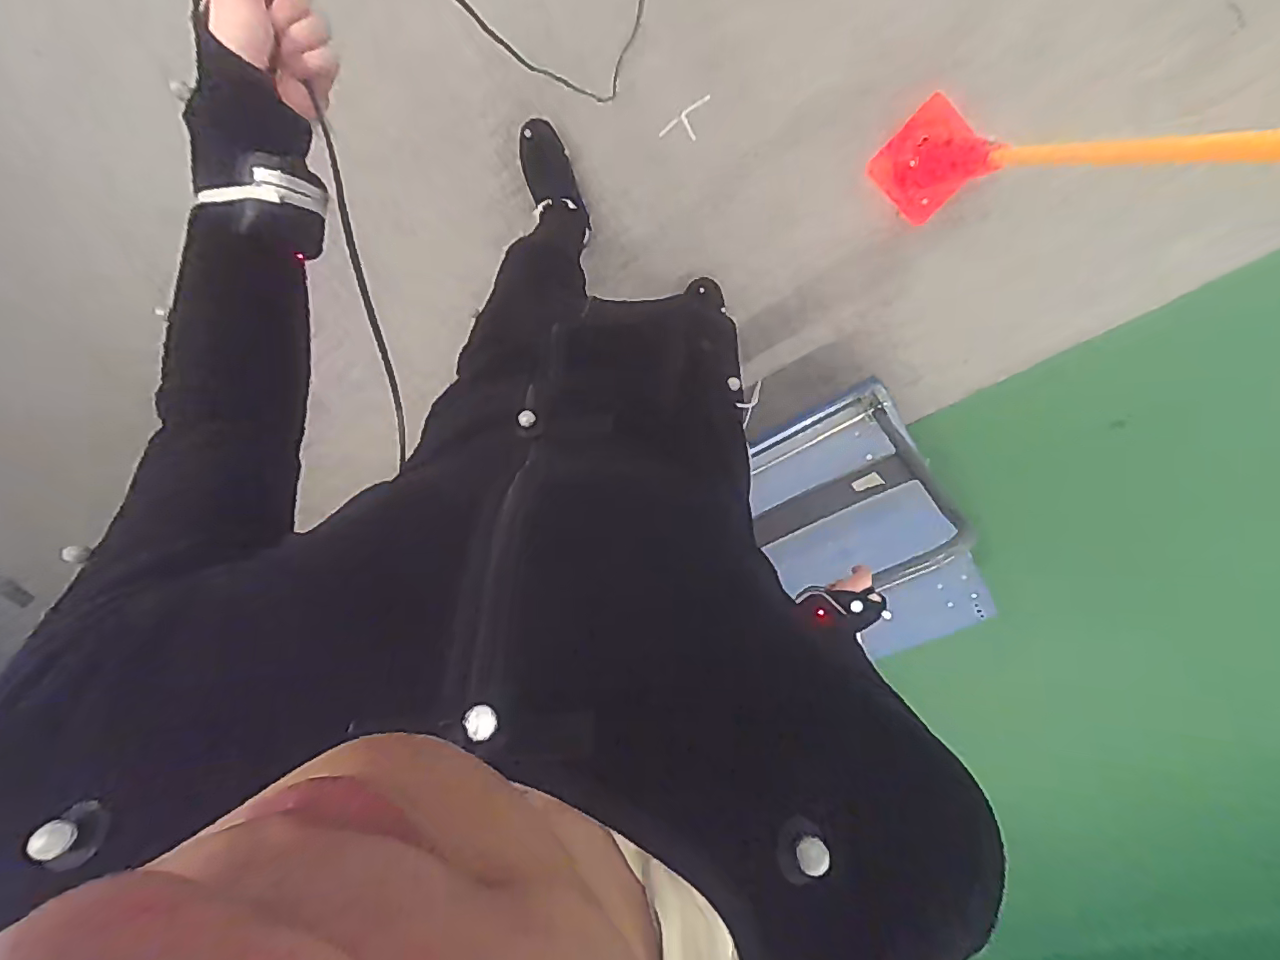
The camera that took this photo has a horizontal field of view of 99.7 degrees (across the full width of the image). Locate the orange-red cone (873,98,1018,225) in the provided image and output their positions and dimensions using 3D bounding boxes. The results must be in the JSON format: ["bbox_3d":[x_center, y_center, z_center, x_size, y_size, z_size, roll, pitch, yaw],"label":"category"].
[{"bbox_3d":[0.646,-0.638,1.081,0.198,0.360,0.199,40,115,-16],"label":"orange-red cone"}]
